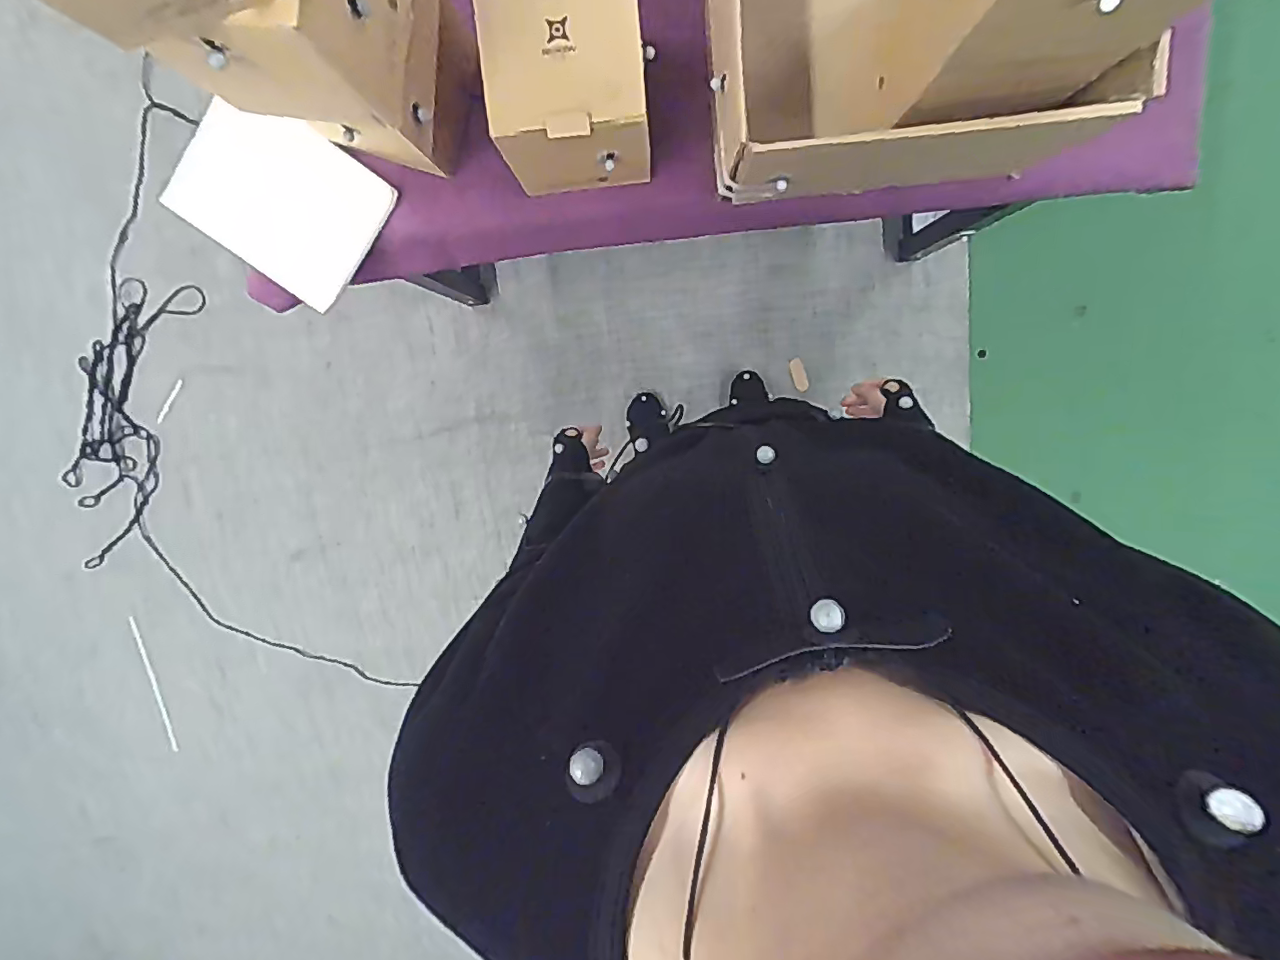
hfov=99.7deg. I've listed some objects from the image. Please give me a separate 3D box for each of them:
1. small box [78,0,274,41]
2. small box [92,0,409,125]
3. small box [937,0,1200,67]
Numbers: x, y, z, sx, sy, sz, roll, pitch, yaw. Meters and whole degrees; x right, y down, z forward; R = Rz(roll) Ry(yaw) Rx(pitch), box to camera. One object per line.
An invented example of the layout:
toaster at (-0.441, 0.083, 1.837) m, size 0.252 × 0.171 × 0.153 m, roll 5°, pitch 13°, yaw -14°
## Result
small box at (-0.333, -0.413, 0.308) m, size 0.168 × 0.176 × 0.179 m, roll -14°, pitch 99°, yaw 6°
small box at (-0.319, -0.440, 0.470) m, size 0.179 × 0.176 × 0.168 m, roll 8°, pitch 100°, yaw 2°
small box at (0.343, -0.437, 0.385) m, size 0.179 × 0.176 × 0.168 m, roll -2°, pitch 100°, yaw 6°
